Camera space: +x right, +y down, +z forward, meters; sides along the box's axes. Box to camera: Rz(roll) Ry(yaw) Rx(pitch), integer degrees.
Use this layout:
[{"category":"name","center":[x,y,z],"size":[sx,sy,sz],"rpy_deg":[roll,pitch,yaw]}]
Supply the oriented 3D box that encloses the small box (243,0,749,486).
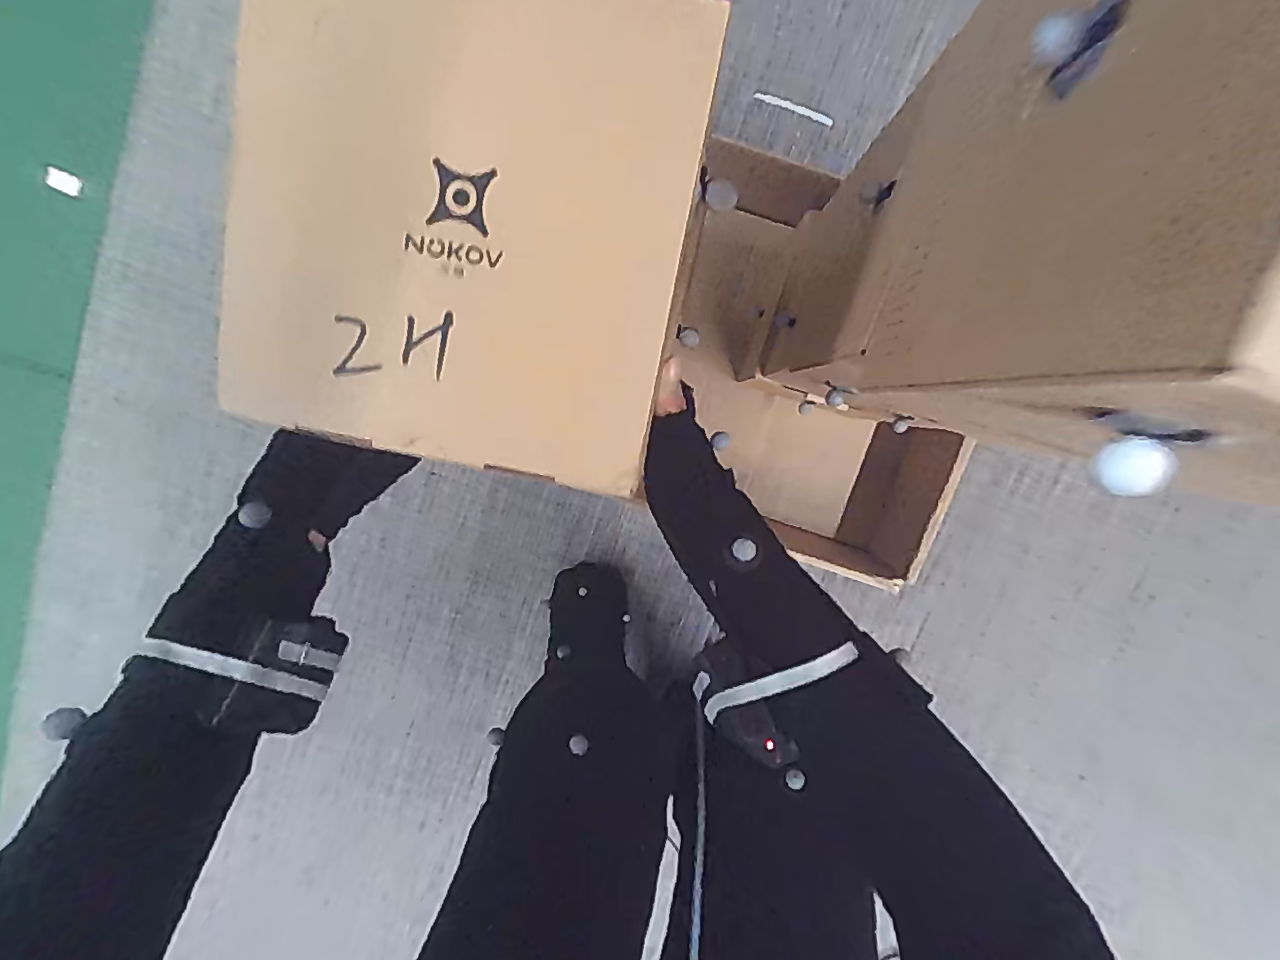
[{"category":"small box","center":[-0.056,-0.110,0.278],"size":[0.168,0.176,0.179],"rpy_deg":[12,100,0]}]

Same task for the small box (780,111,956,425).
[{"category":"small box","center":[0.226,-0.148,0.445],"size":[0.168,0.176,0.179],"rpy_deg":[19,99,2]}]

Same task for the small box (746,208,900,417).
[{"category":"small box","center":[0.225,-0.179,0.624],"size":[0.168,0.176,0.179],"rpy_deg":[15,99,3]}]

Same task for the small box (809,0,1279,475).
[{"category":"small box","center":[0.211,-0.121,0.300],"size":[0.168,0.176,0.179],"rpy_deg":[20,99,0]}]
